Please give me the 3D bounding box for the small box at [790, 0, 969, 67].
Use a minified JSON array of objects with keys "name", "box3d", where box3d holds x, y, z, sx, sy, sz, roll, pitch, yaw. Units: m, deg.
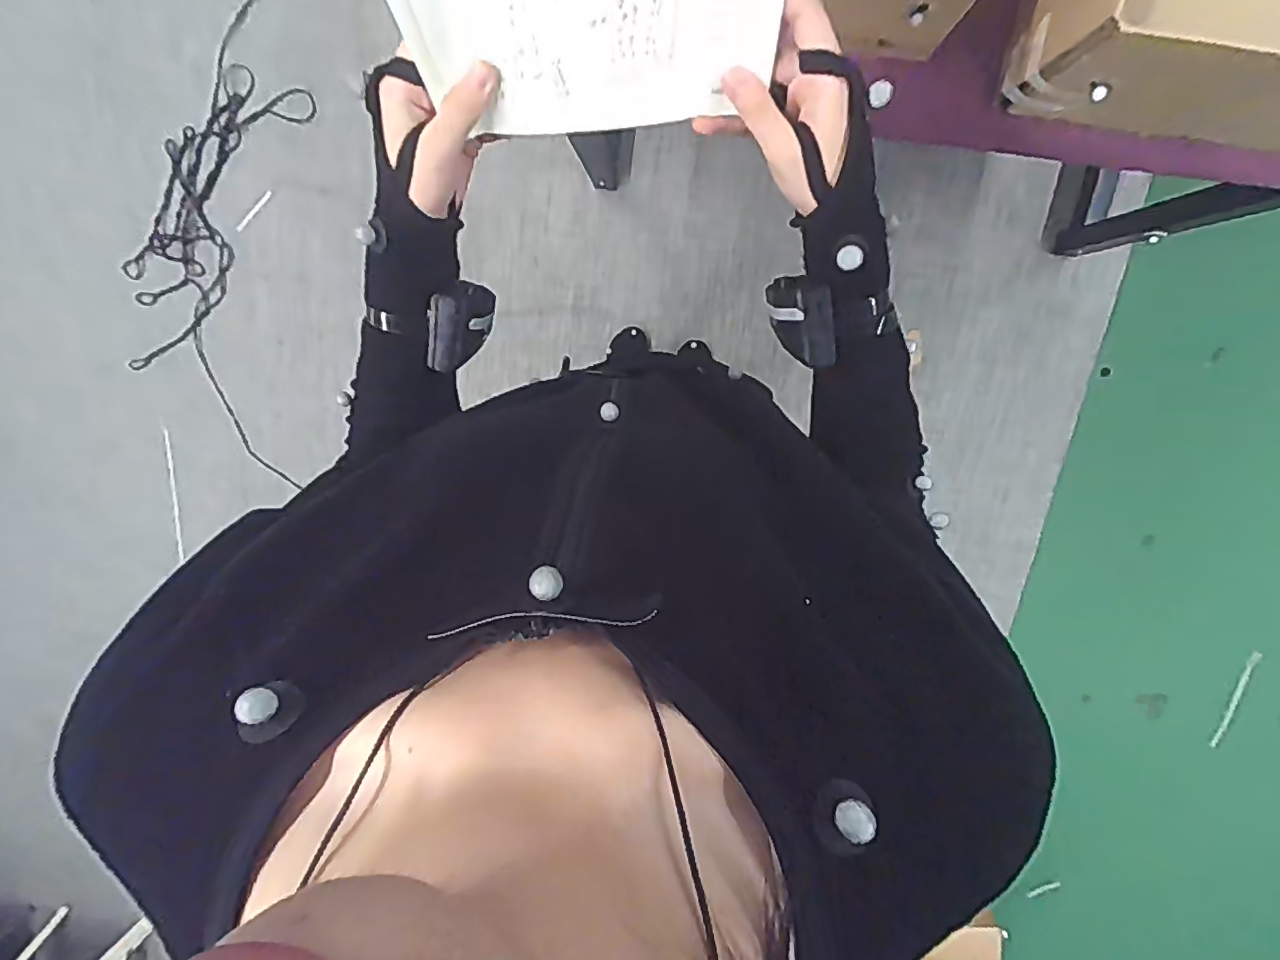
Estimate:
[{"name":"small box","box3d":[0.258,-0.557,0.540,0.168,0.176,0.179,9,102,2]}]
